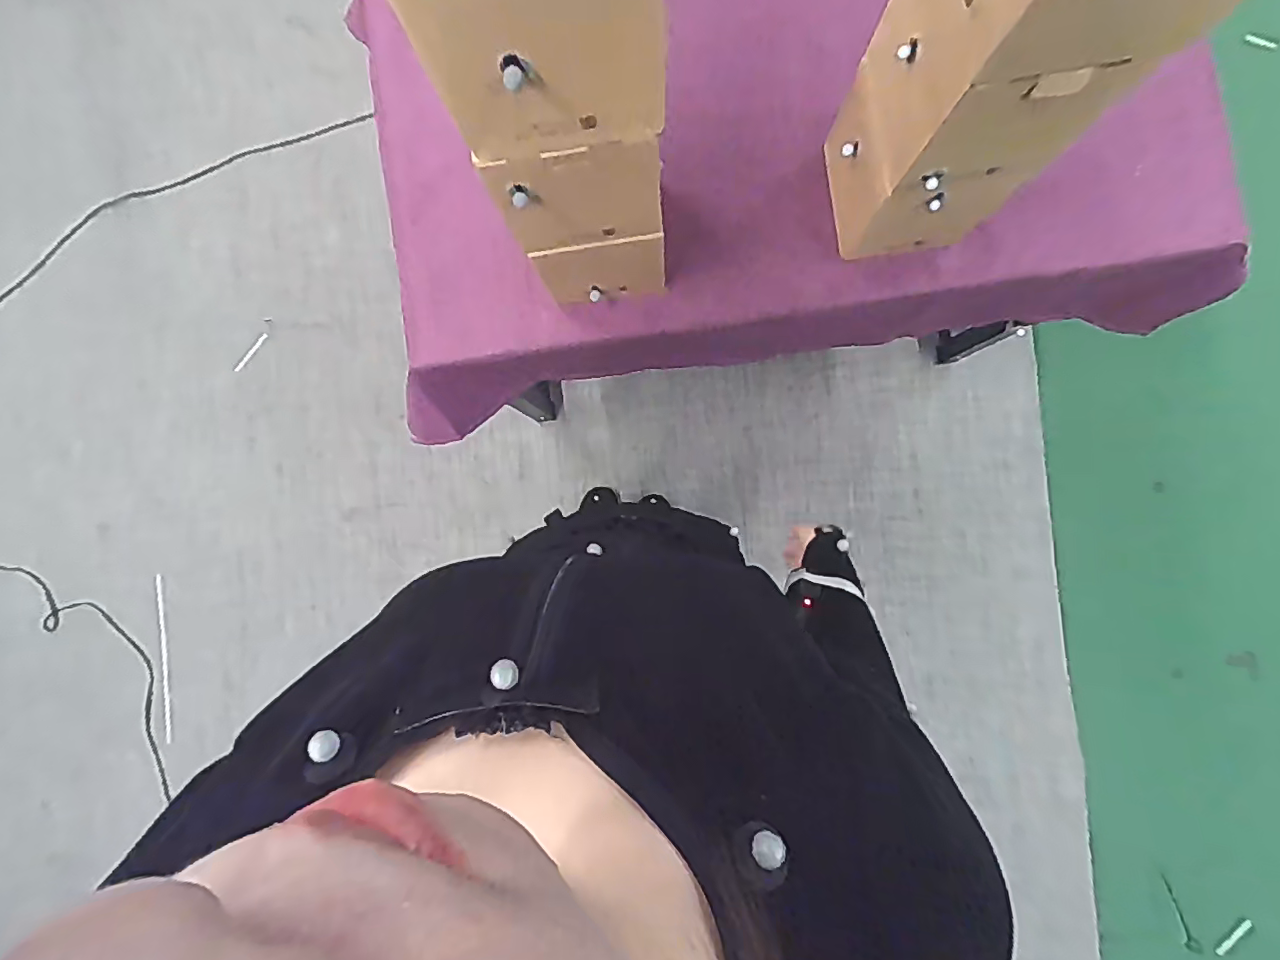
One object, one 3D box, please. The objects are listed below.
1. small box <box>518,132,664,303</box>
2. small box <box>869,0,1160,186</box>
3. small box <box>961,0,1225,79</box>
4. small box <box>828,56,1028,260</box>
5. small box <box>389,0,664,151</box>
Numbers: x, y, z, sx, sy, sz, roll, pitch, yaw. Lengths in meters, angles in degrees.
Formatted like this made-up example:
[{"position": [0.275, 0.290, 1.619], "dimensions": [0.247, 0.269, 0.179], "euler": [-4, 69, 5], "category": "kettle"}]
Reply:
[{"position": [-0.059, -0.358, 0.724], "dimensions": [0.168, 0.176, 0.179], "euler": [-6, 89, 3], "category": "small box"}, {"position": [0.351, -0.423, 0.541], "dimensions": [0.168, 0.176, 0.179], "euler": [-8, 87, 2], "category": "small box"}, {"position": [0.346, -0.423, 0.376], "dimensions": [0.179, 0.176, 0.168], "euler": [-7, 89, 2], "category": "small box"}, {"position": [0.357, -0.417, 0.705], "dimensions": [0.168, 0.176, 0.179], "euler": [-7, 87, 4], "category": "small box"}, {"position": [-0.073, -0.374, 0.397], "dimensions": [0.168, 0.176, 0.179], "euler": [-6, 86, 3], "category": "small box"}]
